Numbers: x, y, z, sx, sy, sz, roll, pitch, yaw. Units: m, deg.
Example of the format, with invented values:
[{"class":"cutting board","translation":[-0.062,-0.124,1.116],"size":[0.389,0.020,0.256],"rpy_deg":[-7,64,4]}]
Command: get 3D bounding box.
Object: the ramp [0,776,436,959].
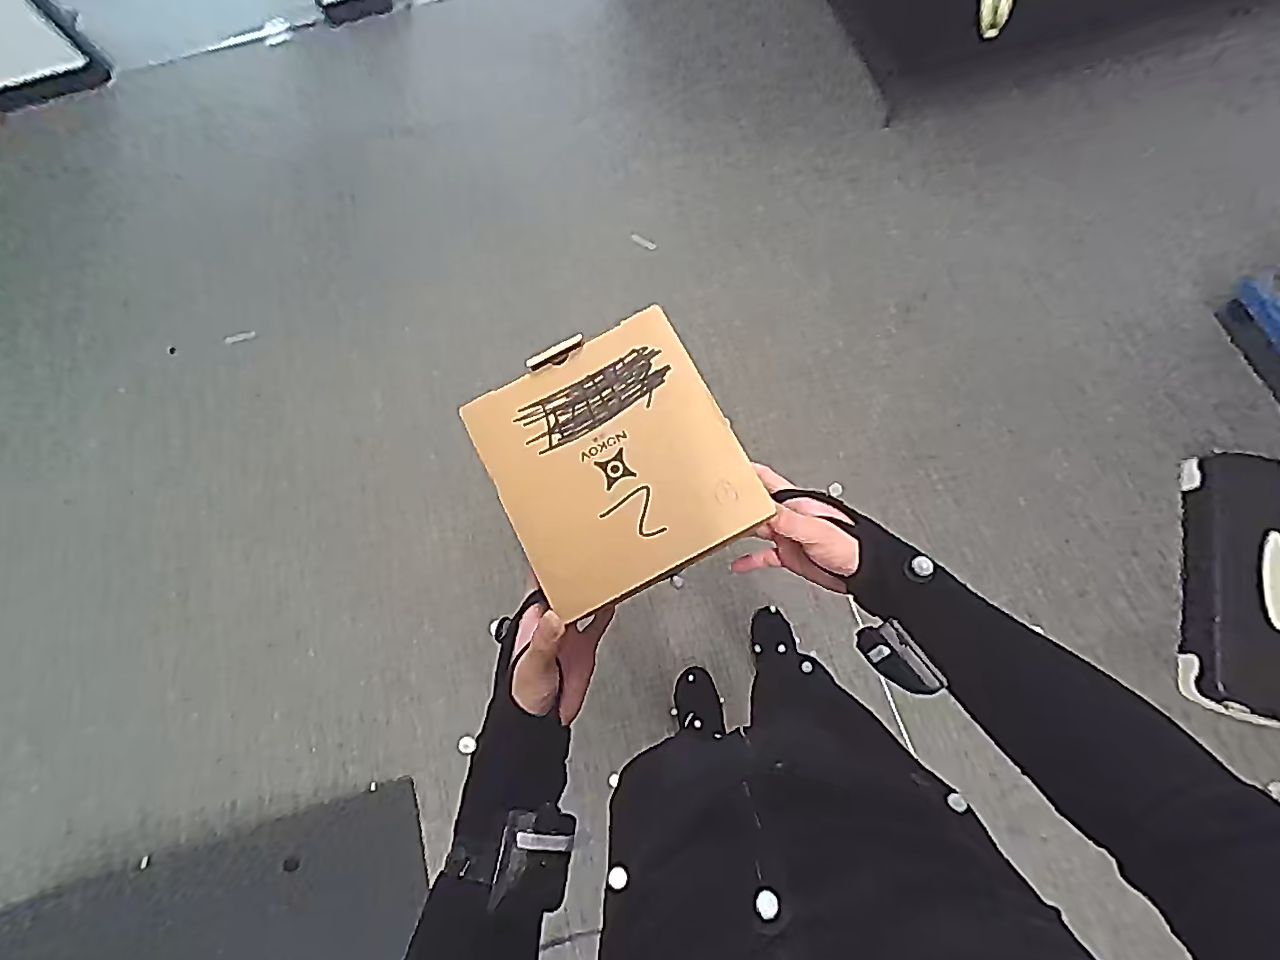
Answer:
[{"class":"ramp","translation":[-1.004,1.089,1.225],"size":[0.991,0.206,0.509],"rpy_deg":[-18,71,-3]}]
